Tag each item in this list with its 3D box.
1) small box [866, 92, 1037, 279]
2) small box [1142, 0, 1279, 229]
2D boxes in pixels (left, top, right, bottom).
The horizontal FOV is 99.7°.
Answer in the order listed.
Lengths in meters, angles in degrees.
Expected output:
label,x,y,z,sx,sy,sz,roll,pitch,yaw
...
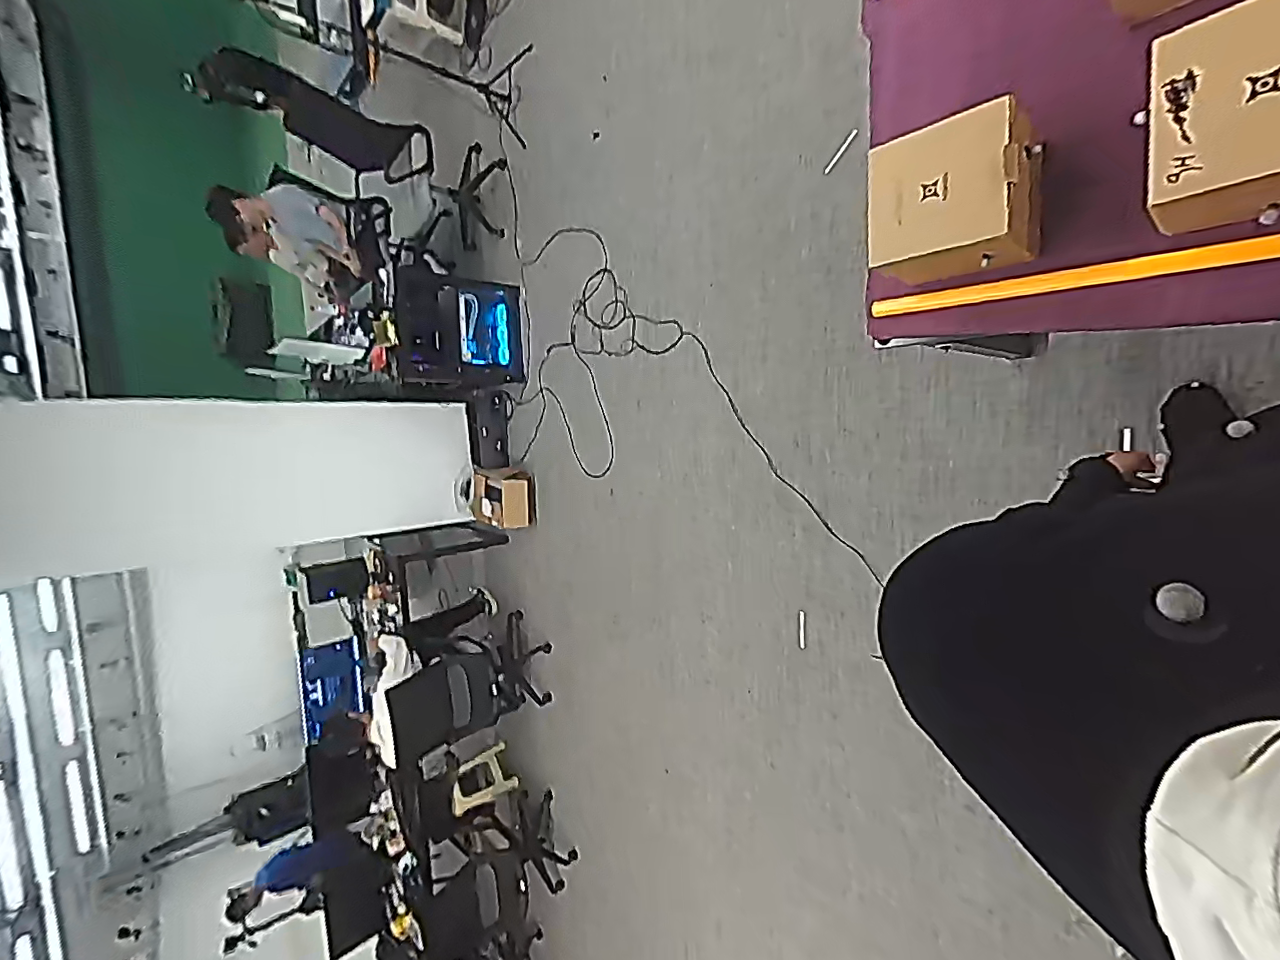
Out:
label,x,y,z,sx,sy,sz,roll,pitch,yaw
small box,0.442,-0.396,0.766,0.179,0.176,0.168,4,98,46
small box,0.639,-0.376,0.546,0.179,0.176,0.168,4,98,48
